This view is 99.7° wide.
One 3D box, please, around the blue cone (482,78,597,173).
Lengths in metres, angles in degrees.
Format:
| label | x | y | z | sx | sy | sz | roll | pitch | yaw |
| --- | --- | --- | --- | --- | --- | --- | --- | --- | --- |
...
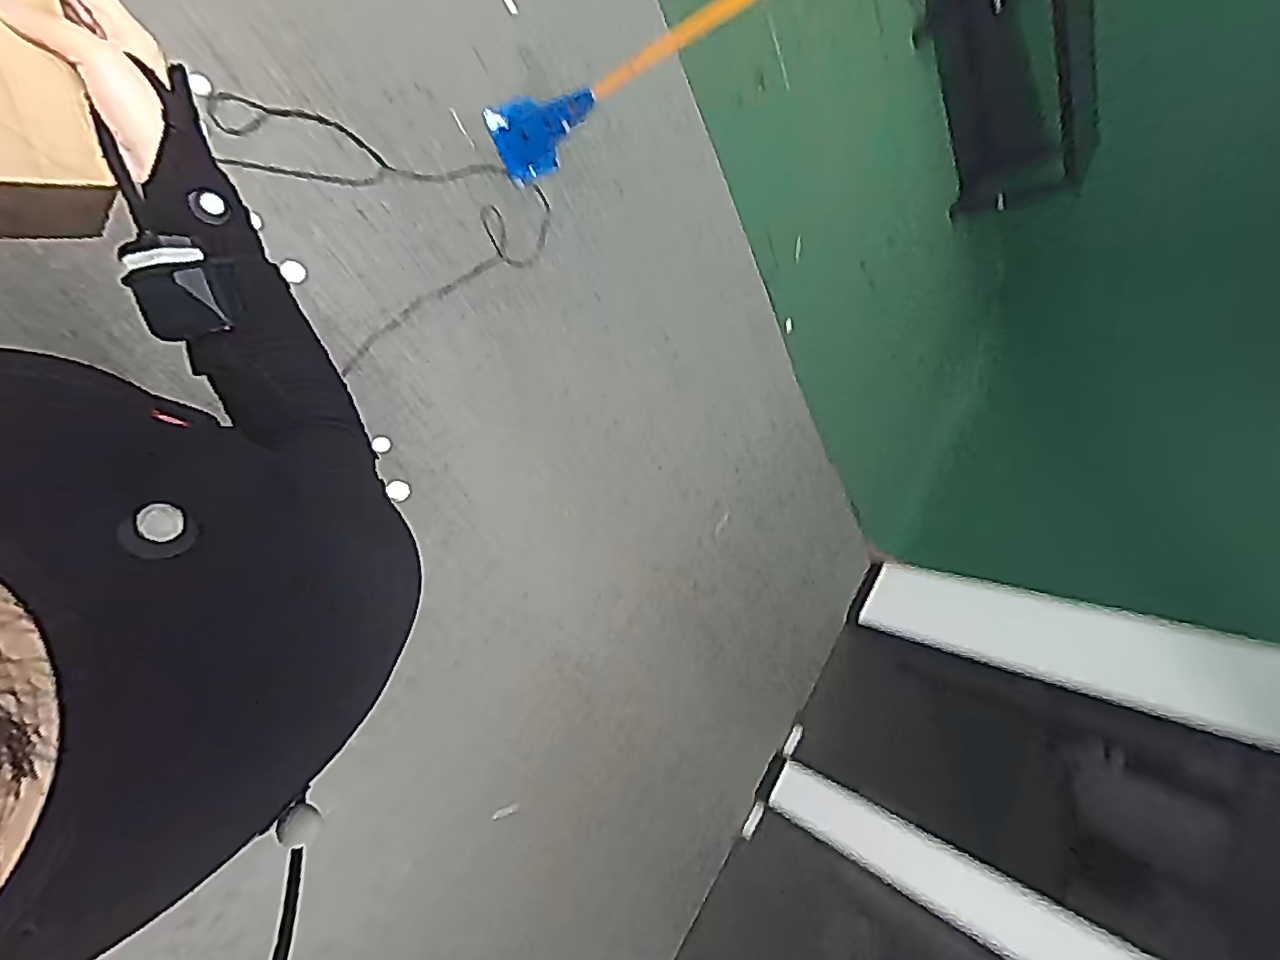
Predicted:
| label | x | y | z | sx | sy | sz | roll | pitch | yaw |
| --- | --- | --- | --- | --- | --- | --- | --- | --- | --- |
| blue cone | -0.258 | -1.022 | 1.507 | 0.192 | 0.380 | 0.193 | -43 | 123 | -31 |

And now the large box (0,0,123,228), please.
| label | x | y | z | sx | sy | sz | roll | pitch | yaw |
| --- | --- | --- | --- | --- | --- | --- | --- | --- | --- |
| large box | -0.610 | -0.322 | 0.289 | 0.408 | 0.320 | 0.320 | -23 | 118 | -43 |
